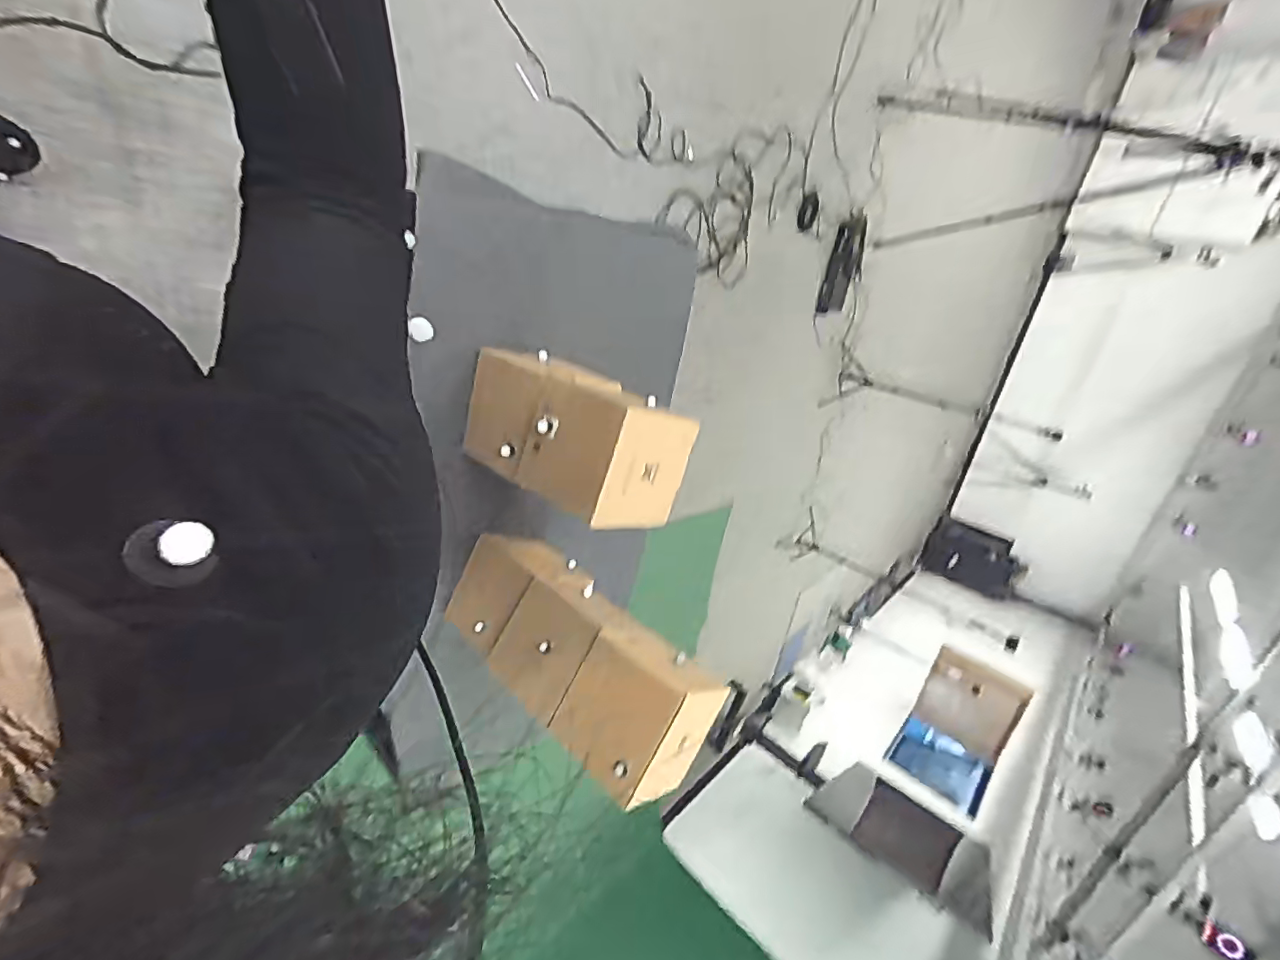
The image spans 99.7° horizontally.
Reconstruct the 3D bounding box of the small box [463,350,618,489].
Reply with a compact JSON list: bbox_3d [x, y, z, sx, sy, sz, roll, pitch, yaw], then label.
[{"bbox_3d":[-0.168,-0.099,0.888,0.168,0.176,0.179,-5,115,-51],"label":"small box"}]

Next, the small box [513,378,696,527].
[{"bbox_3d":[-0.052,-0.040,0.791,0.179,0.176,0.168,5,107,-51],"label":"small box"}]

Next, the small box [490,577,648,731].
[{"bbox_3d":[-0.123,0.290,0.909,0.179,0.176,0.168,-61,145,-3],"label":"small box"}]

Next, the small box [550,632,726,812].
[{"bbox_3d":[-0.004,0.348,0.814,0.168,0.176,0.179,30,88,-55],"label":"small box"}]
